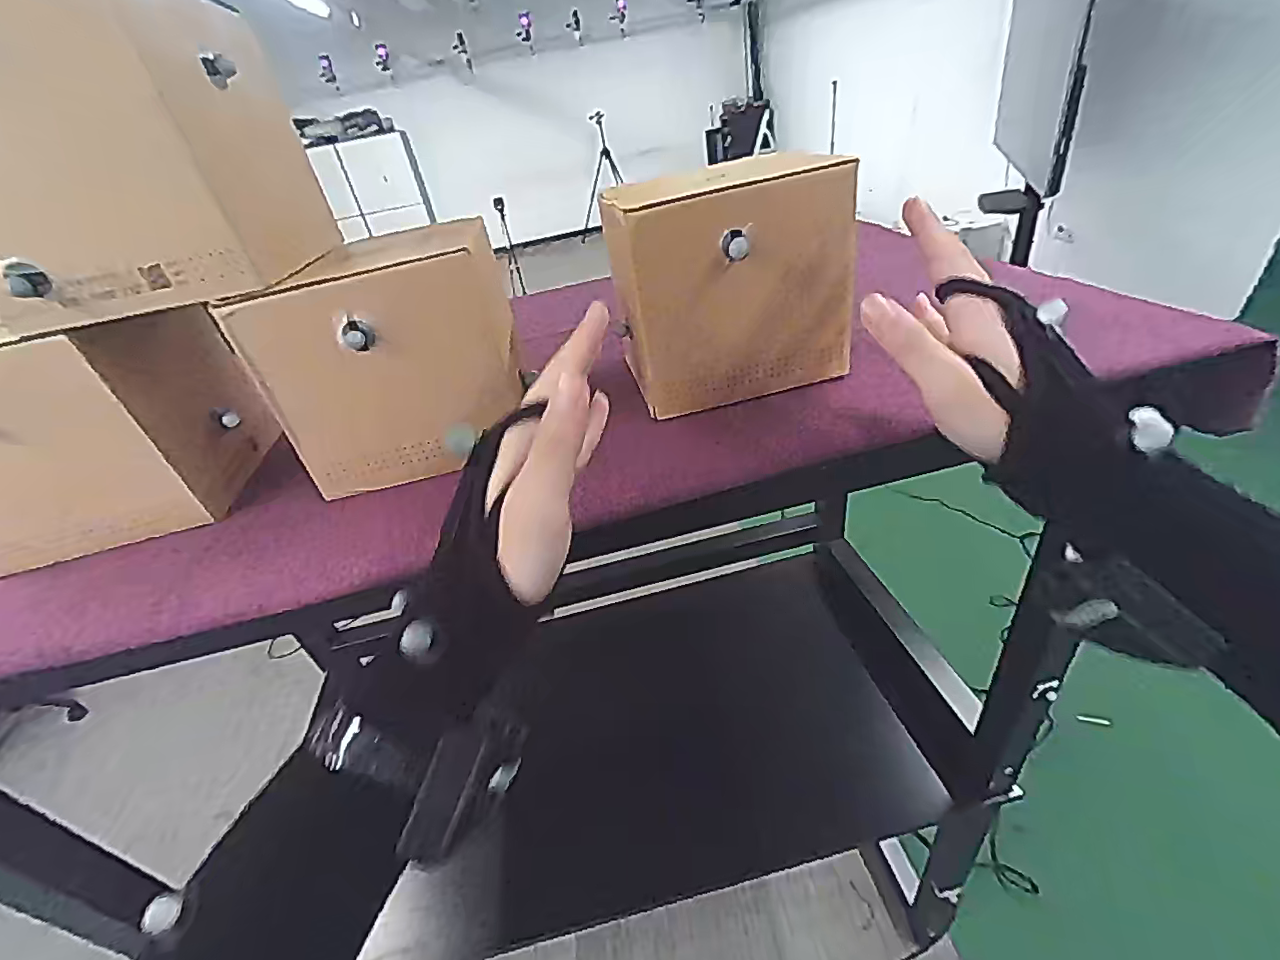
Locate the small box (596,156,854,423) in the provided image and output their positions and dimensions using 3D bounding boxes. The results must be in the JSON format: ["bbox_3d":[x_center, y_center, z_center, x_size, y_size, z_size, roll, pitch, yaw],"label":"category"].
[{"bbox_3d":[0.070,-0.174,0.488,0.179,0.176,0.168,-15,34,-2],"label":"small box"}]

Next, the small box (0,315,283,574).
[{"bbox_3d":[-0.460,-0.044,0.464,0.179,0.176,0.168,-15,36,-4],"label":"small box"}]

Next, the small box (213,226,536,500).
[{"bbox_3d":[-0.199,-0.103,0.471,0.179,0.176,0.168,-14,35,-3],"label":"small box"}]

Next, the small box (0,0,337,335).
[{"bbox_3d":[-0.351,-0.213,0.383,0.168,0.176,0.179,-12,34,-2],"label":"small box"}]
